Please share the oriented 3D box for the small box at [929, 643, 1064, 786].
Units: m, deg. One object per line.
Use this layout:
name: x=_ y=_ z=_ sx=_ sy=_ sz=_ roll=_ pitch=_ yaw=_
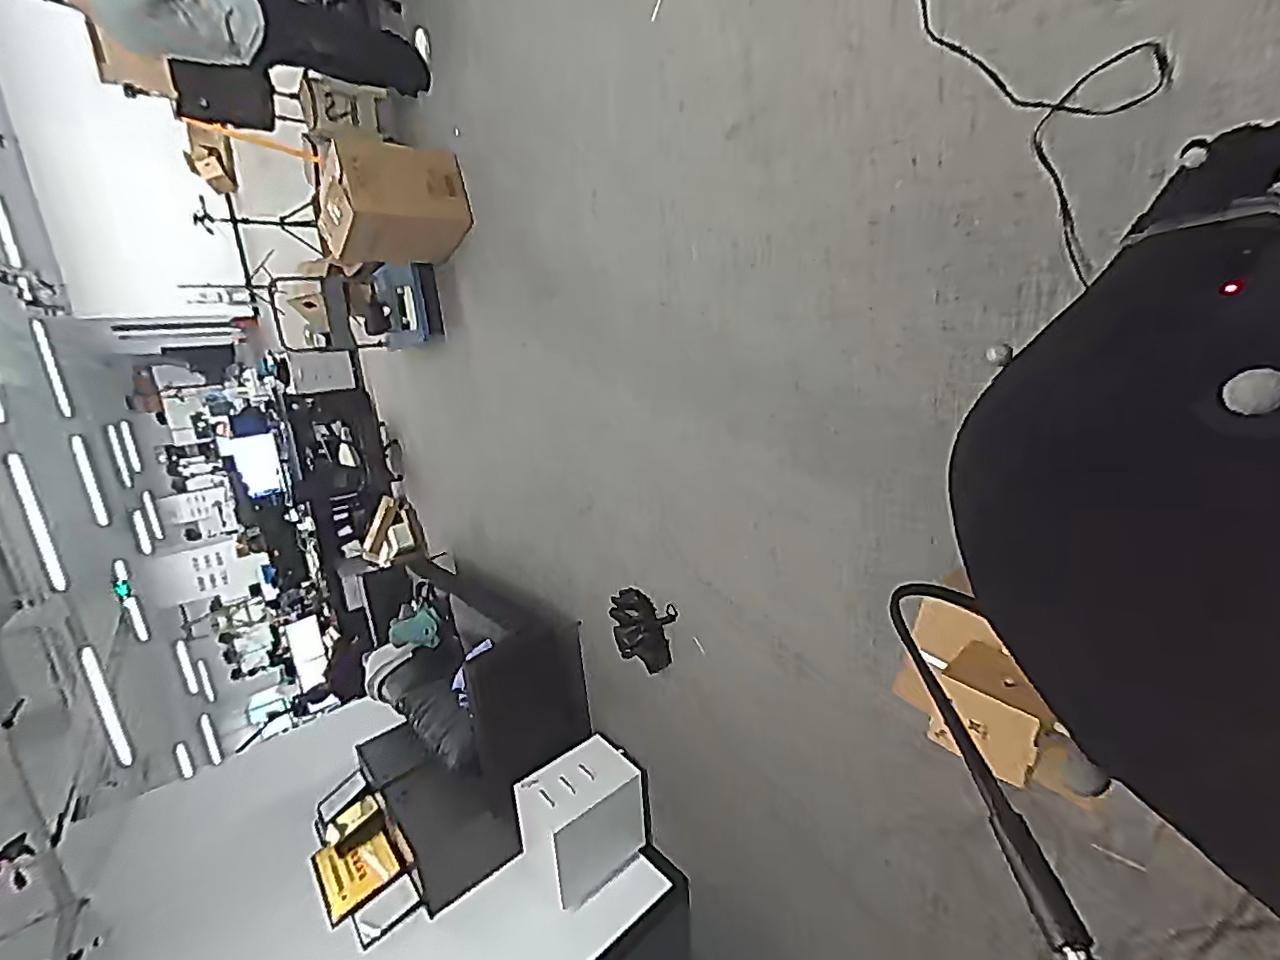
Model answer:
small box: x=0.718 y=0.457 z=1.089 sx=0.179 sy=0.176 sz=0.168 roll=19 pitch=117 yaw=46
